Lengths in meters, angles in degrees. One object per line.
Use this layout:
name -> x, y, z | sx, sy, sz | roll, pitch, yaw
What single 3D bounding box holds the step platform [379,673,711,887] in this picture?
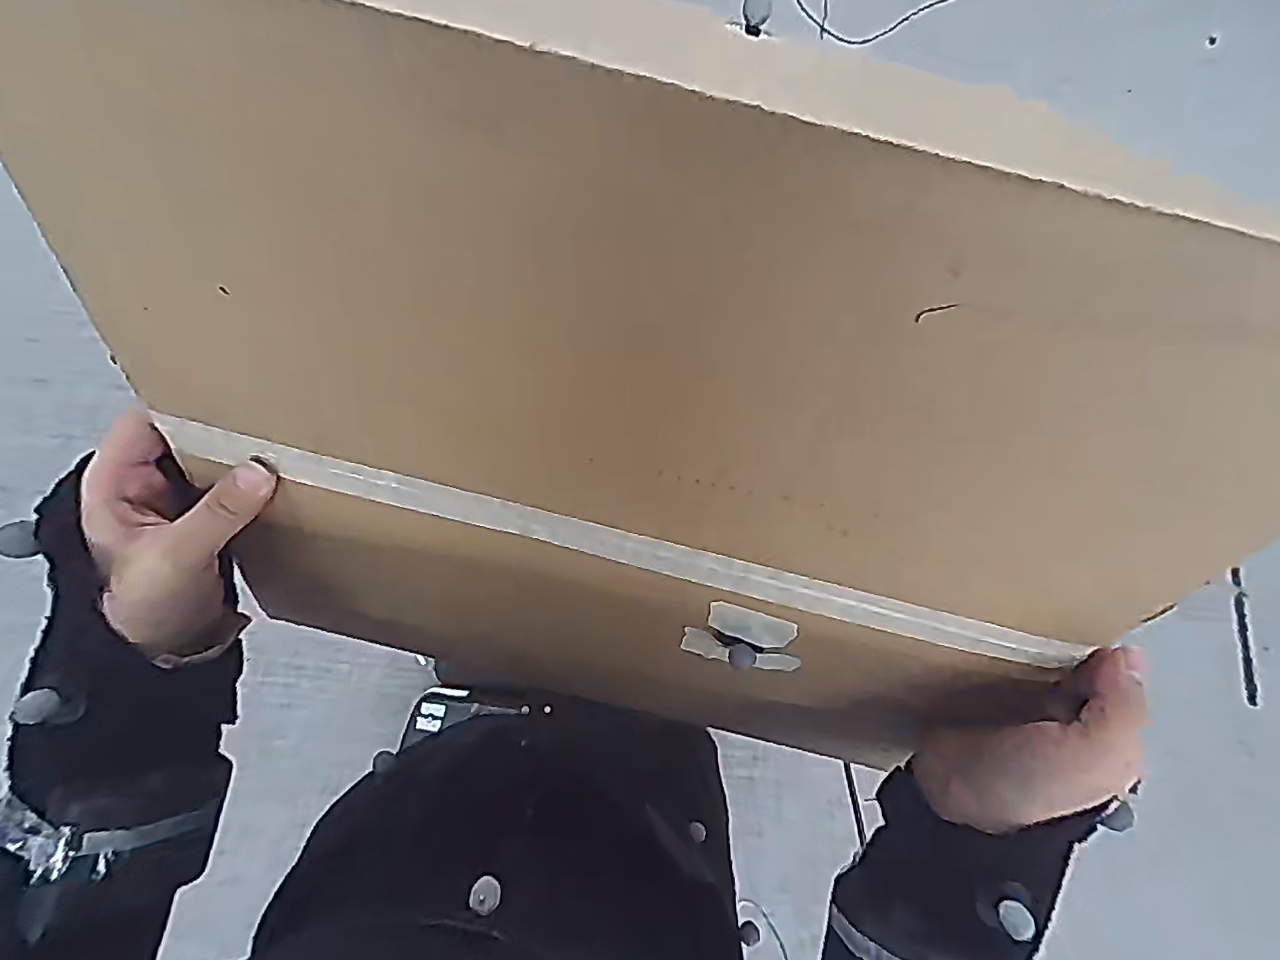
step platform -> -0.189, 0.641, 1.186 | 0.684, 0.204, 0.286 | 13, 74, -1
